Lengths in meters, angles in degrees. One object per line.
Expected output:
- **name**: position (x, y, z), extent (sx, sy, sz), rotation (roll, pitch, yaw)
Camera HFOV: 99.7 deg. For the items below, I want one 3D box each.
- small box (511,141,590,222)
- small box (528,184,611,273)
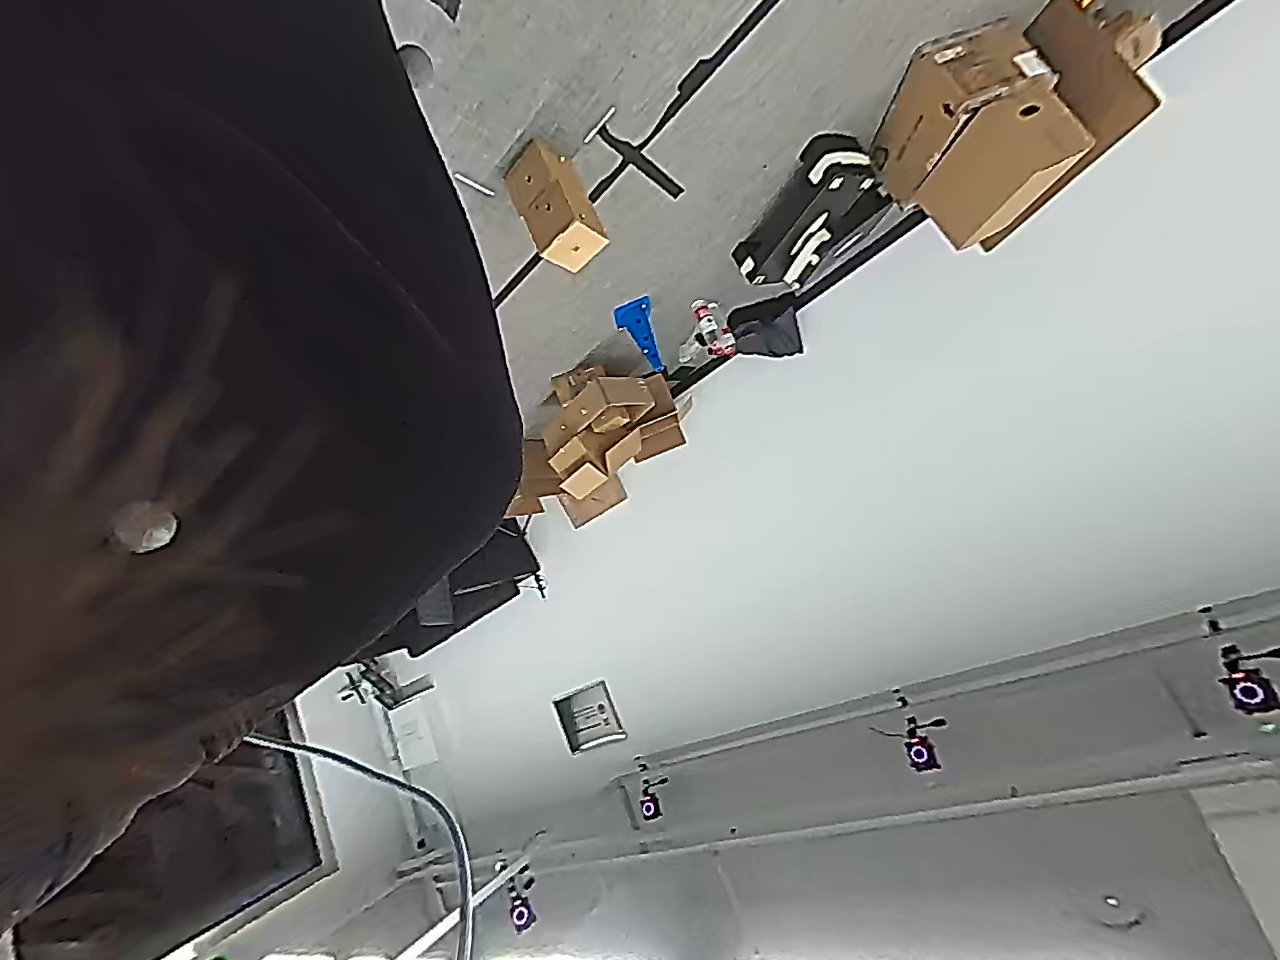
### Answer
- **small box**: position (-0.299, -0.947, 1.762), extent (0.179, 0.176, 0.168), rotation (-34, 163, 33)
- **small box**: position (-0.226, -0.804, 1.732), extent (0.168, 0.176, 0.179), rotation (-31, 164, 30)
